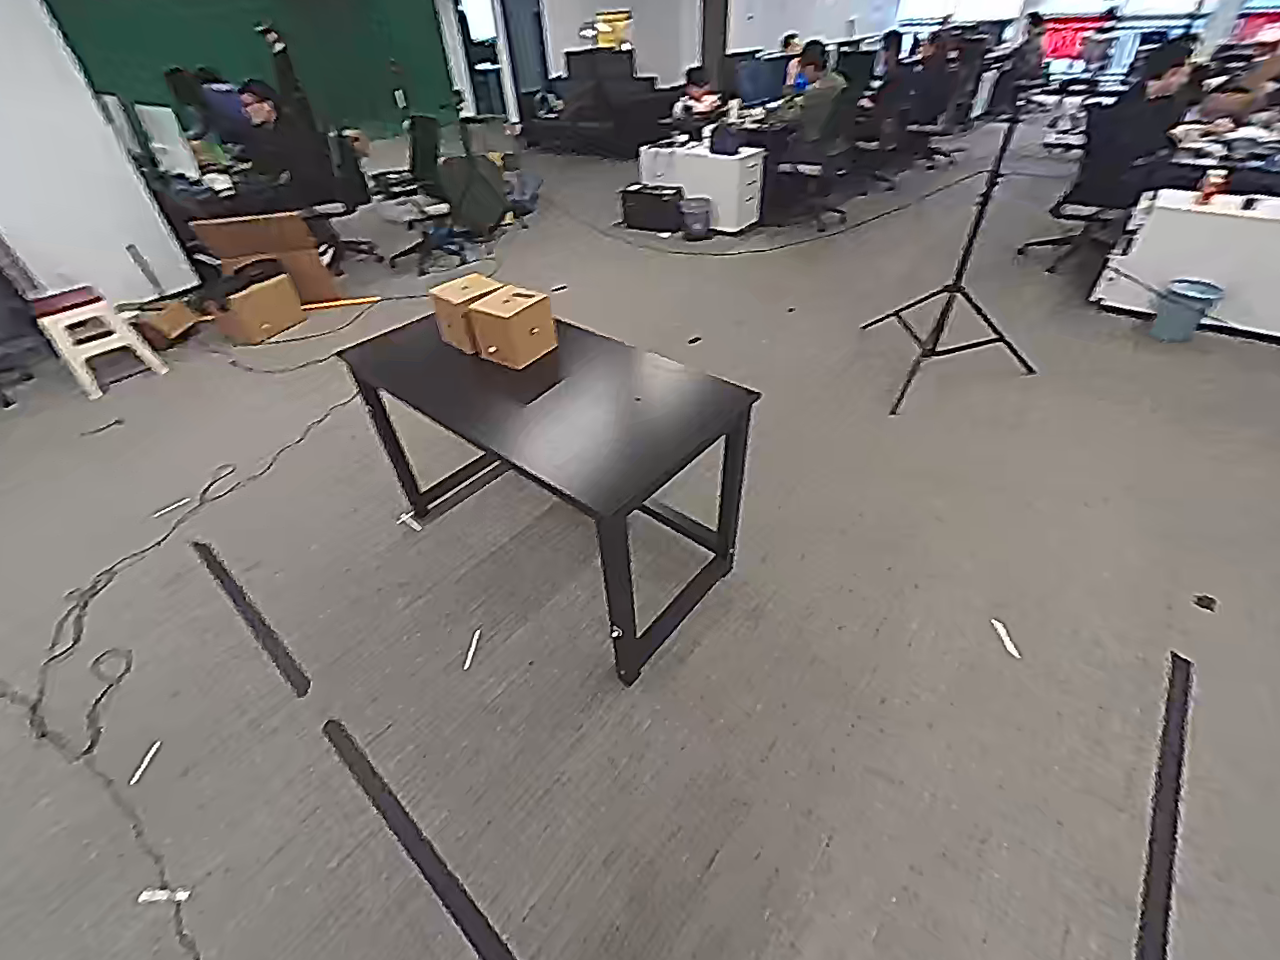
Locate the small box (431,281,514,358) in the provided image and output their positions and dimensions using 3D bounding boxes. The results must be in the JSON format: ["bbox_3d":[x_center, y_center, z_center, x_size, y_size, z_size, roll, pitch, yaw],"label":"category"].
[{"bbox_3d":[-0.530,-0.513,1.731,0.168,0.176,0.179,30,51,32],"label":"small box"}]
